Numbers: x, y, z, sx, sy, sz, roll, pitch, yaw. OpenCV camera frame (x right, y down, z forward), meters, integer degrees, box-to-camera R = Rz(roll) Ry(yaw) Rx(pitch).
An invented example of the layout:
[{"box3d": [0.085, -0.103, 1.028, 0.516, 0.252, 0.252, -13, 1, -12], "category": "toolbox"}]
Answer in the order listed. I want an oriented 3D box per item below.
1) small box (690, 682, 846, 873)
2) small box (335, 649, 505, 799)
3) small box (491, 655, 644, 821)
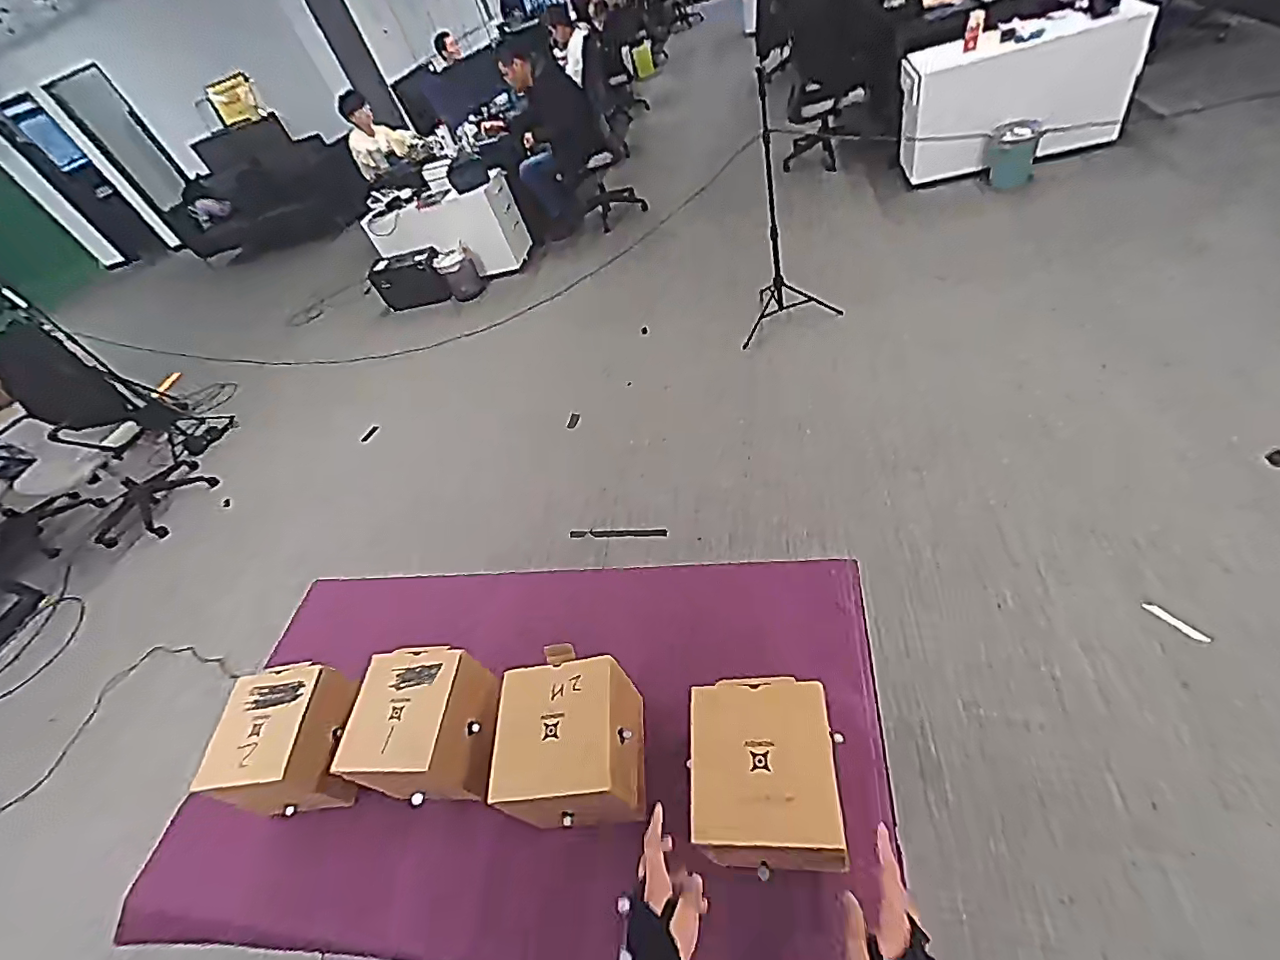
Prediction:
[{"box3d": [0.163, 0.377, 0.690, 0.168, 0.176, 0.179, -8, 46, 15], "category": "small box"}, {"box3d": [-0.333, 0.390, 0.865, 0.168, 0.176, 0.179, -7, 48, 14], "category": "small box"}, {"box3d": [-0.092, 0.380, 0.784, 0.168, 0.176, 0.179, -11, 46, 10], "category": "small box"}]
